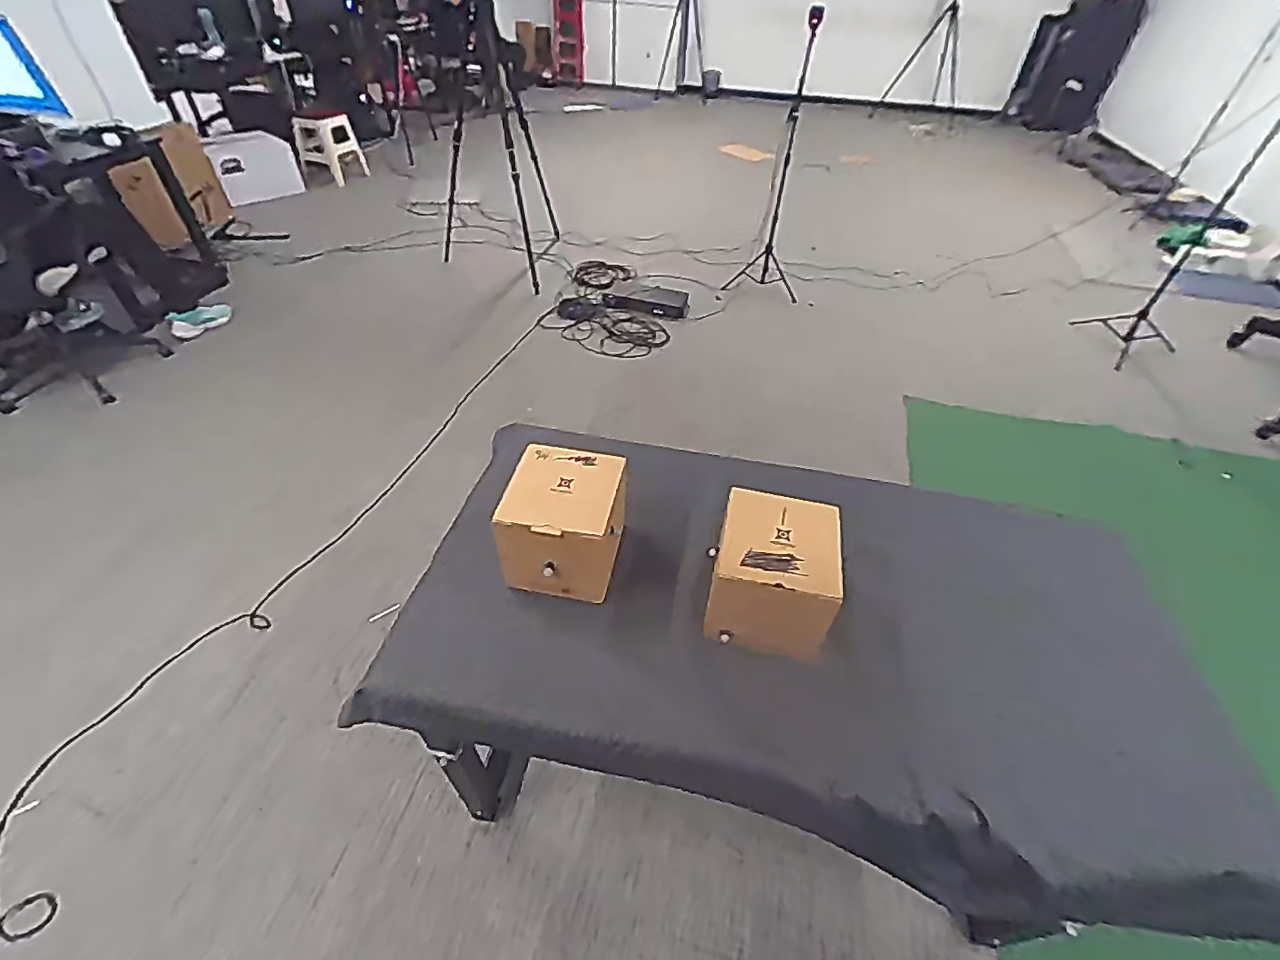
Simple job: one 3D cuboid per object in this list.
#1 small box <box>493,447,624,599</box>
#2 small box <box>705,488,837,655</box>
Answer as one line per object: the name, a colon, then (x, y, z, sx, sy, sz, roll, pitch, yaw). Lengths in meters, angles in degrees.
small box: (-0.121, 0.072, 0.890, 0.168, 0.176, 0.179, 9, 45, 6)
small box: (0.197, 0.142, 0.831, 0.168, 0.176, 0.179, 11, 44, 8)
